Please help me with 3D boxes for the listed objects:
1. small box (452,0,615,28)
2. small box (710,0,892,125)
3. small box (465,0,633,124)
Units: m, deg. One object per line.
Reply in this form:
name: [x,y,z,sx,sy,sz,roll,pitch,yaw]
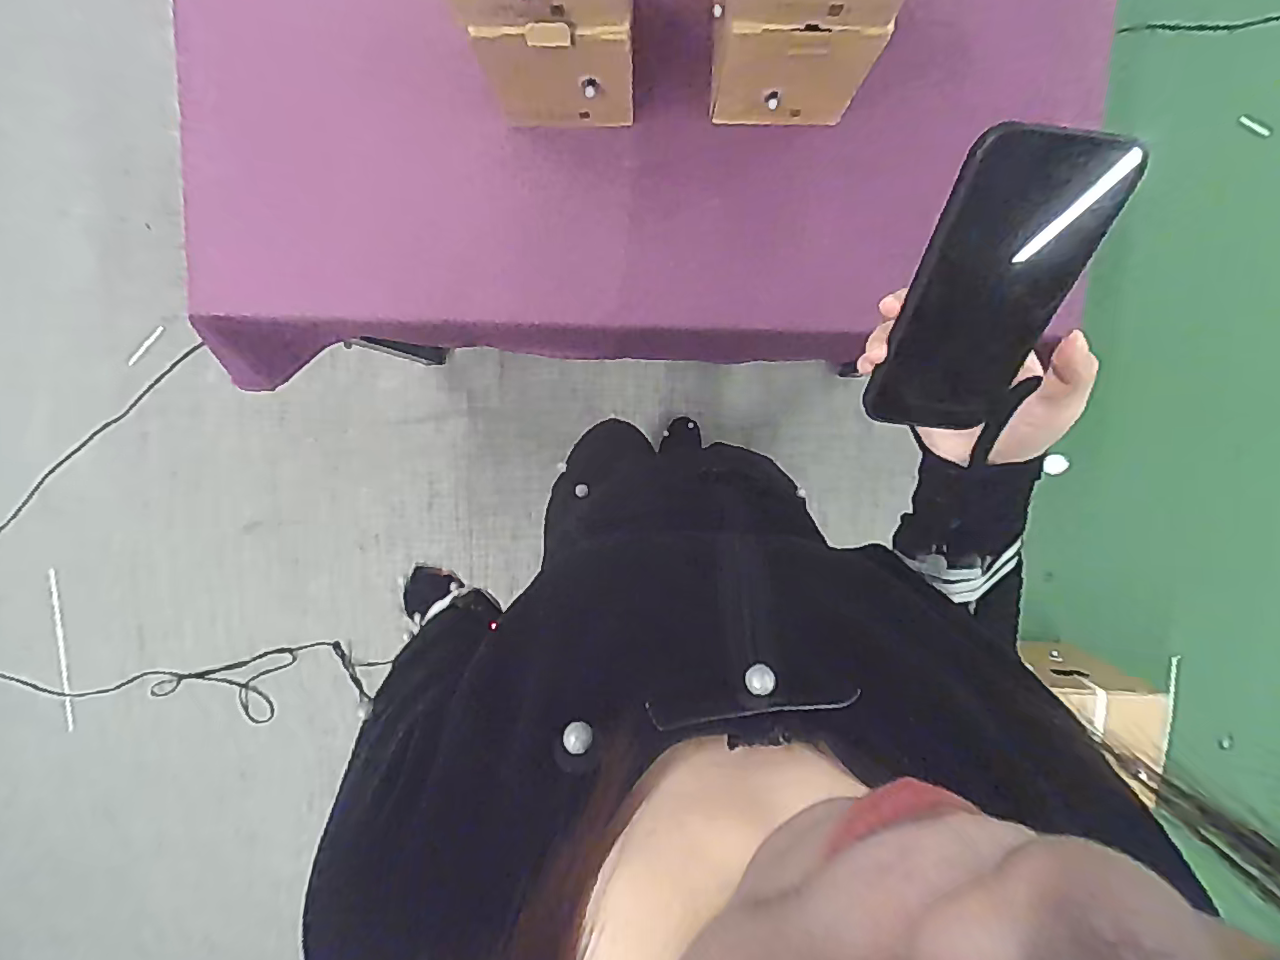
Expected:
small box: [-0.105,-0.535,0.454,0.168,0.176,0.179,1,95,1]
small box: [0.172,-0.544,0.614,0.168,0.176,0.179,1,96,1]
small box: [-0.093,-0.541,0.619,0.168,0.176,0.179,1,95,0]
